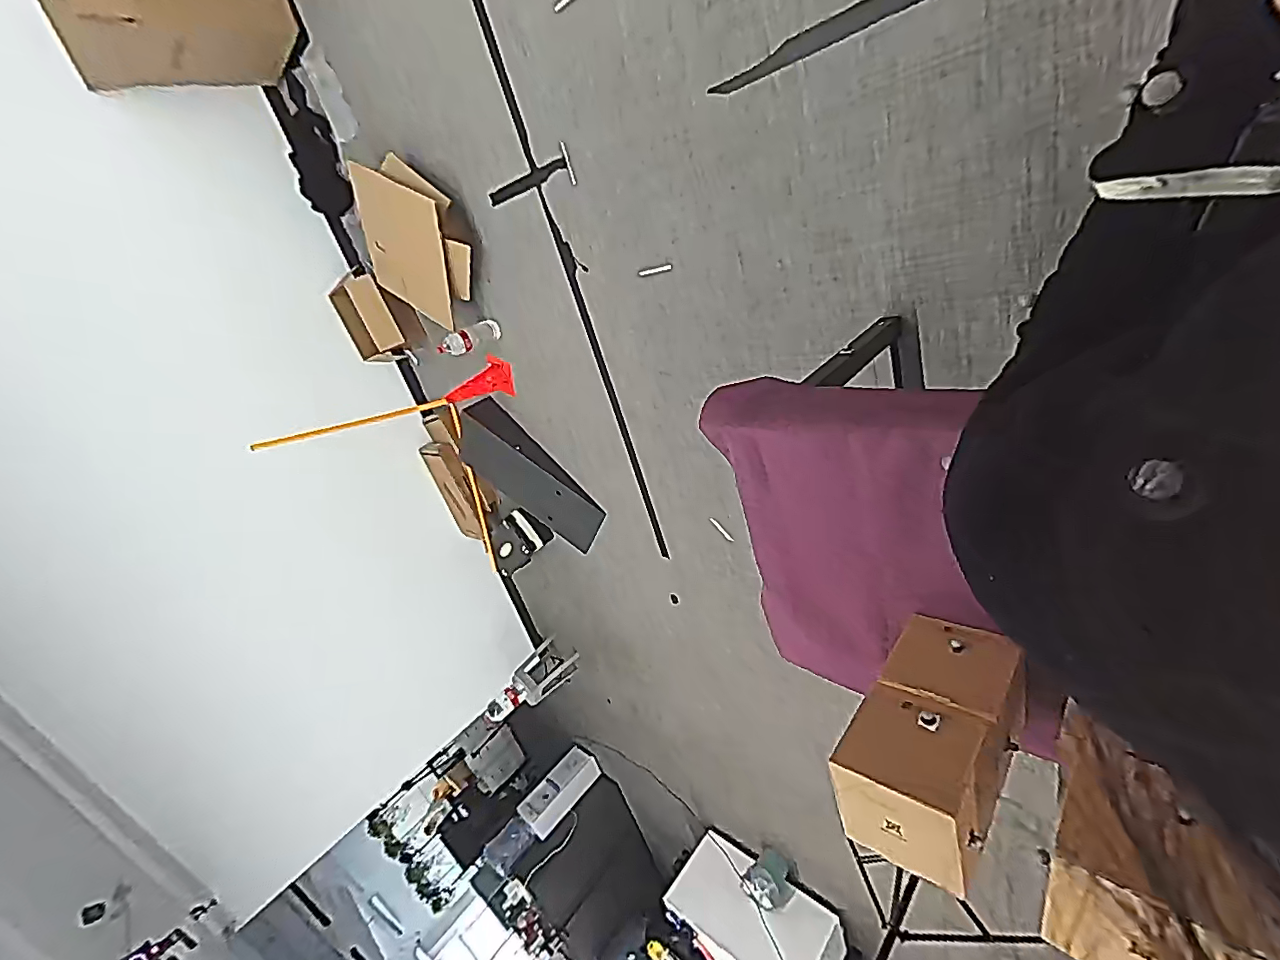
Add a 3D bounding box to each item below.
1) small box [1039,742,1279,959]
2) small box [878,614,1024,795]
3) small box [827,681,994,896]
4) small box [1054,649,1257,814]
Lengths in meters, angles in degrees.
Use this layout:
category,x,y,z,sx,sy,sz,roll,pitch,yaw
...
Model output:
category,x,y,z,sx,sy,sz,roll,pitch,yaw
small box,0.569,0.440,0.603,0.168,0.176,0.179,11,125,43
small box,0.507,0.351,0.876,0.168,0.176,0.179,7,123,44
small box,0.399,0.433,0.786,0.168,0.176,0.179,5,121,45
small box,0.662,0.355,0.705,0.168,0.176,0.179,9,125,44
